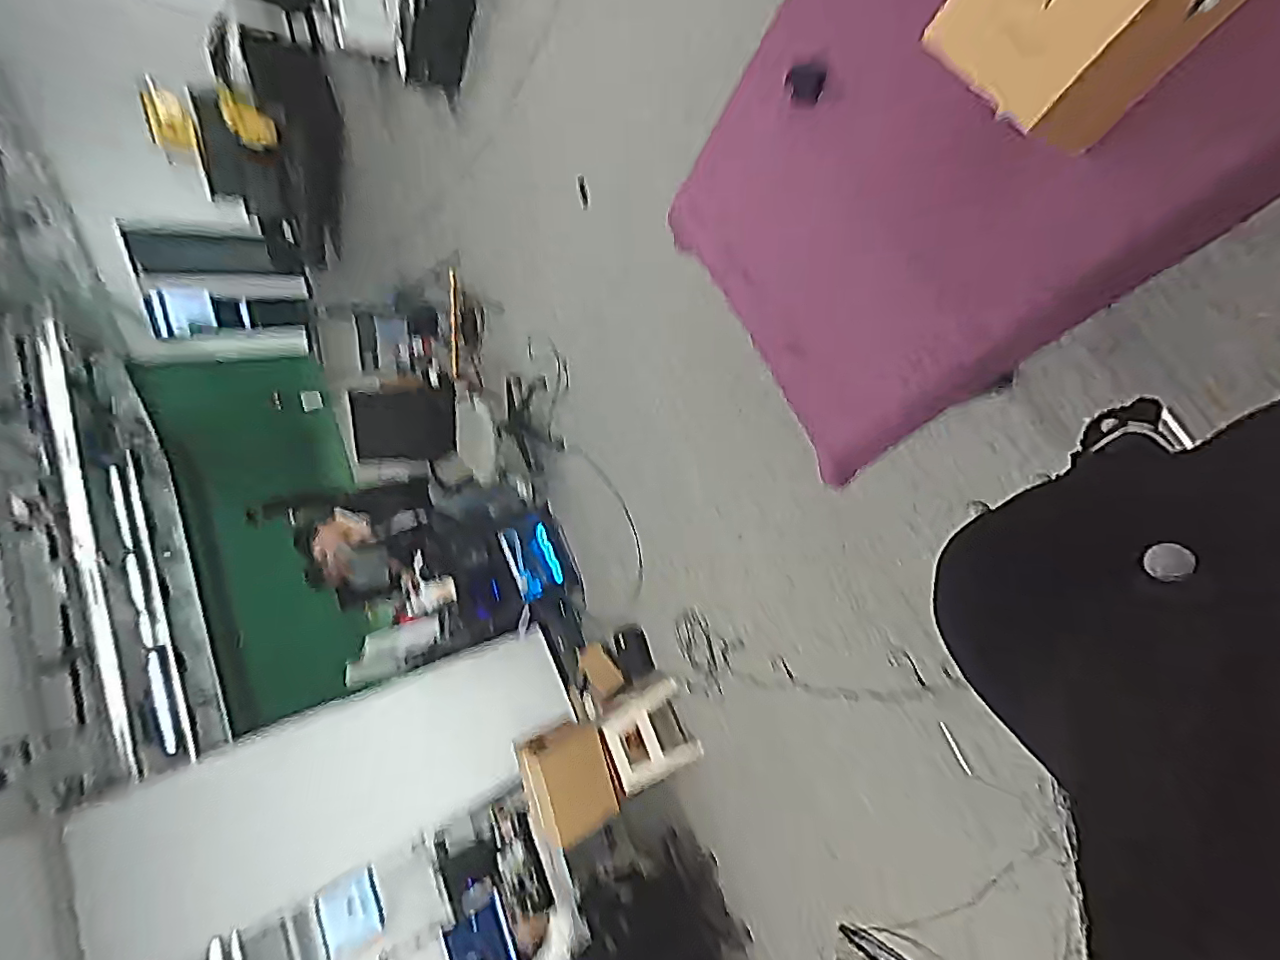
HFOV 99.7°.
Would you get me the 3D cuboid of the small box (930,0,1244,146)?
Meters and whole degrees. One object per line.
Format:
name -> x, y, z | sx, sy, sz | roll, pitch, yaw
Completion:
small box -> 0.438, -0.464, 0.524 | 0.168, 0.176, 0.179 | 61, 143, 21
